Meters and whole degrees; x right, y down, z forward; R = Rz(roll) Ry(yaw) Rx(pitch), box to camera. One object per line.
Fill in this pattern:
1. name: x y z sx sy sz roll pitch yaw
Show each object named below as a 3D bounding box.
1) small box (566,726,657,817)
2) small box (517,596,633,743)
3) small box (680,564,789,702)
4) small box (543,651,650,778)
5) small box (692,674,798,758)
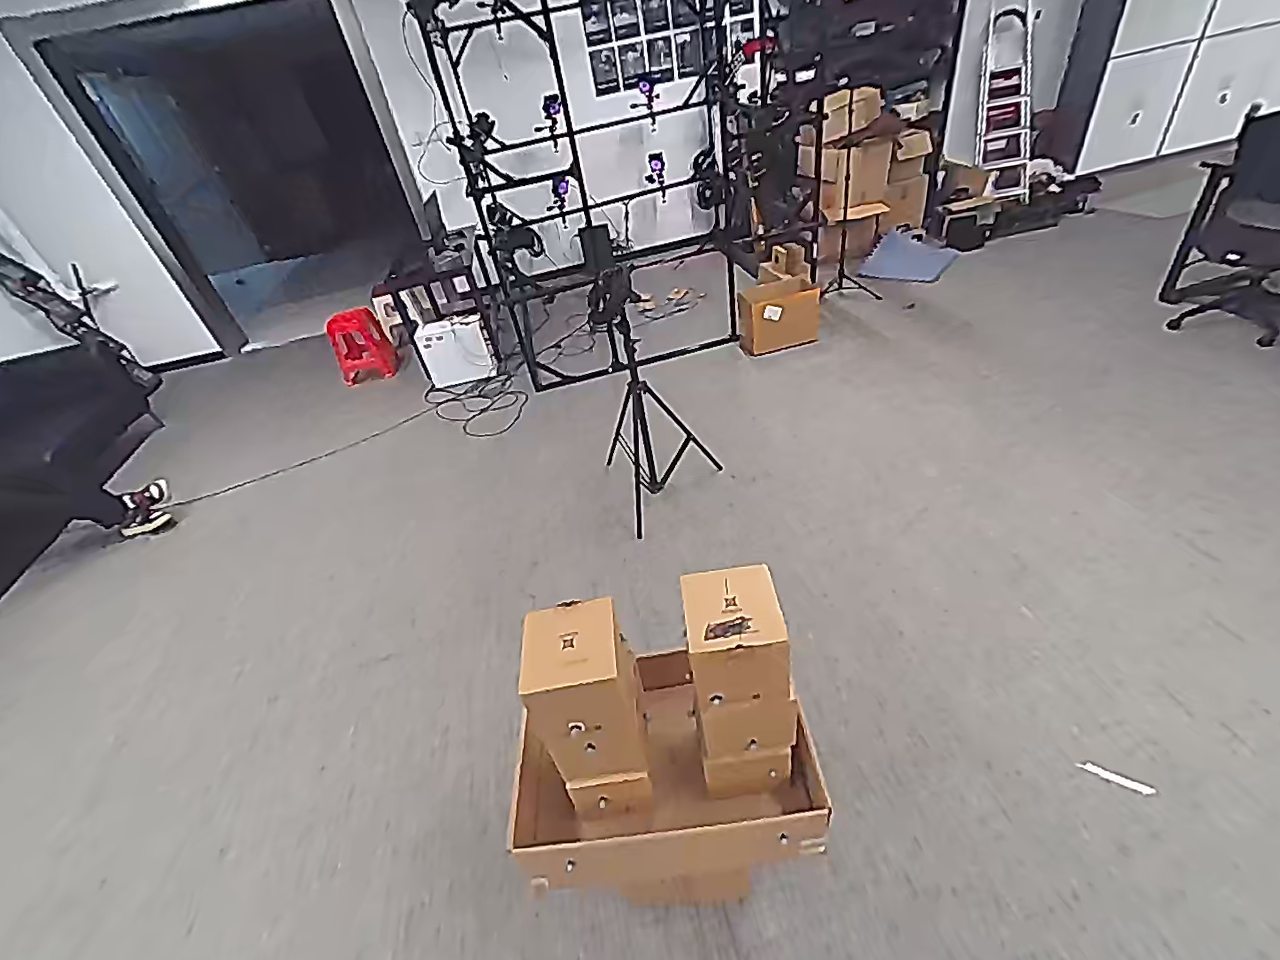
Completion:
1. small box: -0.060 0.603 1.169 0.168 0.176 0.179 -9 37 1
2. small box: -0.111 0.341 0.978 0.168 0.176 0.179 -11 36 1
3. small box: 0.169 0.280 0.976 0.168 0.176 0.179 -8 37 4
4. small box: -0.082 0.469 1.077 0.179 0.176 0.168 -8 37 2
5. small box: 0.198 0.418 1.064 0.179 0.176 0.168 -10 37 1
